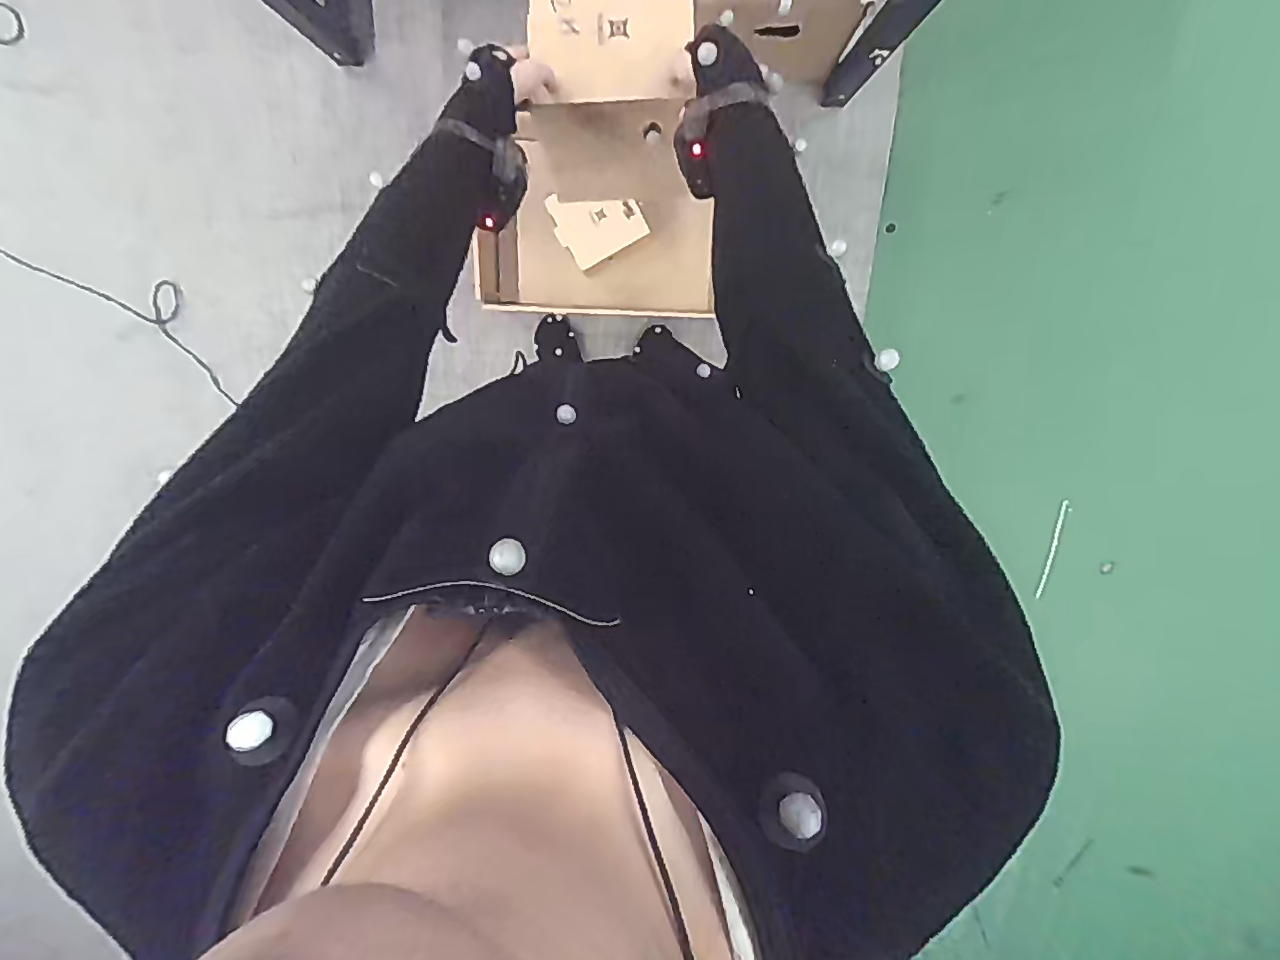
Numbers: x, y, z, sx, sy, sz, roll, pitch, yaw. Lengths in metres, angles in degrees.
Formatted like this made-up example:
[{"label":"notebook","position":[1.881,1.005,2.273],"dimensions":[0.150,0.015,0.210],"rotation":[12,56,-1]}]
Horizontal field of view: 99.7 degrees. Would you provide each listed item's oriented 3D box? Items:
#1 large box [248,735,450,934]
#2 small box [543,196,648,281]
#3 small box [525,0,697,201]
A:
[{"label":"large box","position":[-0.882,1.091,1.689],"dimensions":[0.408,0.320,0.320],"rotation":[32,103,-7]},{"label":"small box","position":[-0.092,-0.571,1.228],"dimensions":[0.179,0.176,0.168],"rotation":[-27,104,8]},{"label":"small box","position":[-0.028,-0.452,0.631],"dimensions":[0.179,0.176,0.168],"rotation":[-1,84,3]}]
